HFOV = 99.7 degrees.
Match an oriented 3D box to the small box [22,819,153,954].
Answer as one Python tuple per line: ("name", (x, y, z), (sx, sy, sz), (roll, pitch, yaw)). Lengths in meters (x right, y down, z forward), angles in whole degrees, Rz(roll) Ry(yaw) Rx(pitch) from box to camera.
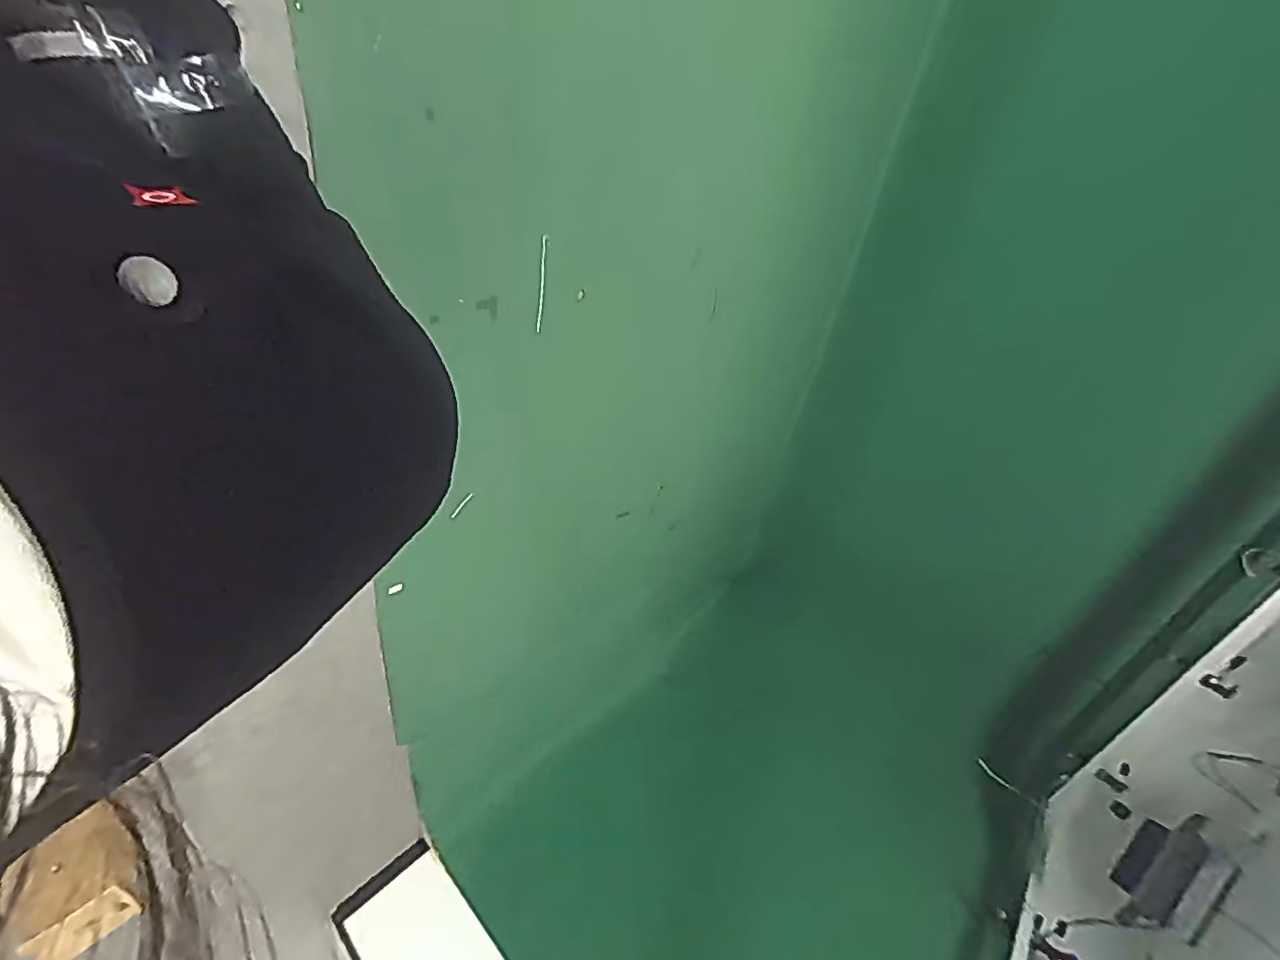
("small box", (-1.359, 0.992, 1.330), (0.179, 0.176, 0.168), (-29, 140, -39))

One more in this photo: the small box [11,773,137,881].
("small box", (-1.480, 0.920, 1.413), (0.179, 0.176, 0.168), (-33, 142, -35))
